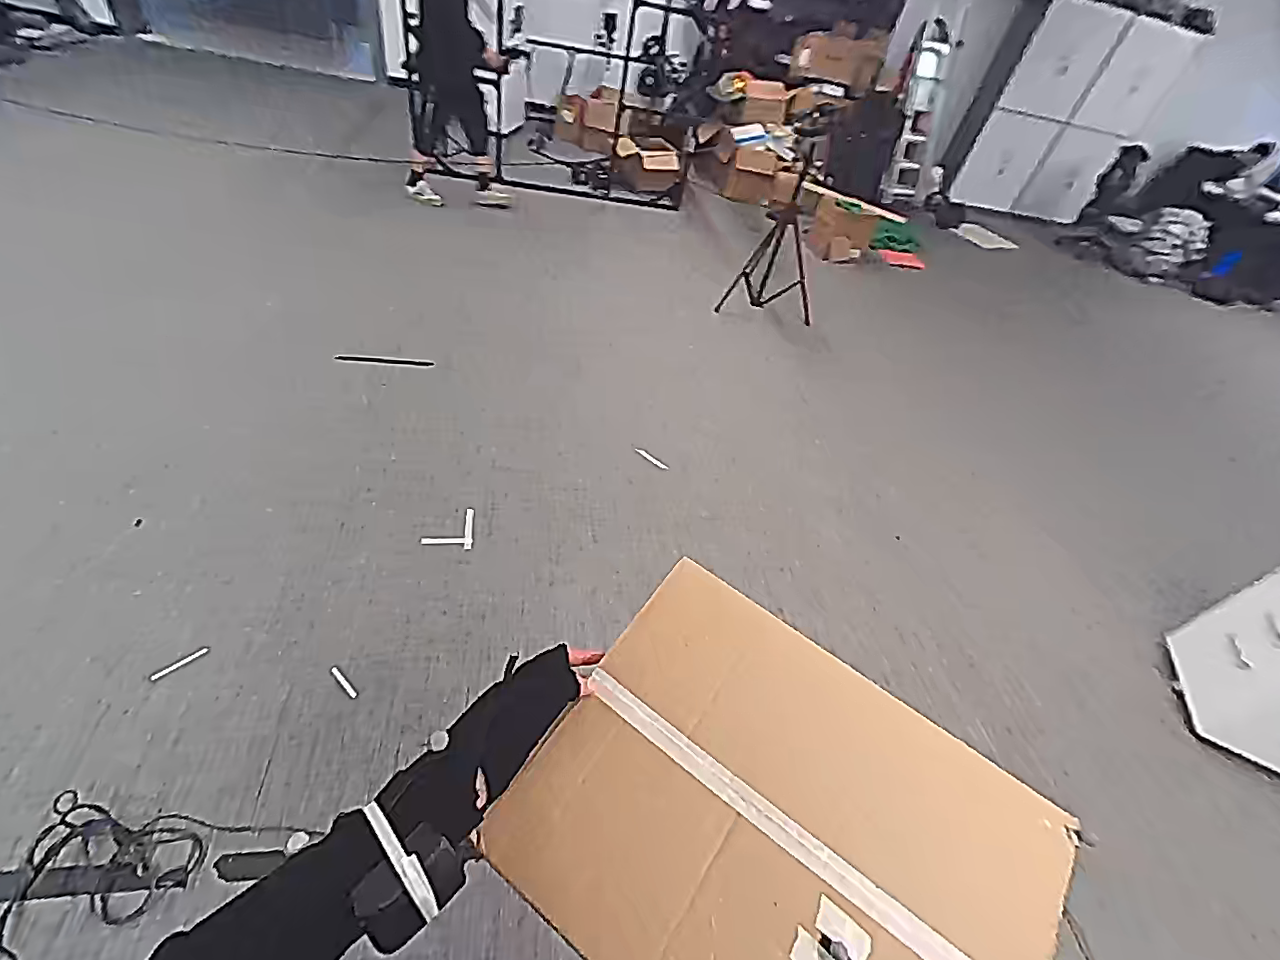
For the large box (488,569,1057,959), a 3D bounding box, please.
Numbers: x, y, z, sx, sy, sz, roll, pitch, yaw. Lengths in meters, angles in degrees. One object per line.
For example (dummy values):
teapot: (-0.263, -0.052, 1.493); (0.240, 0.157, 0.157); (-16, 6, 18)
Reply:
large box: (0.109, 0.374, 0.580); (0.408, 0.320, 0.320); (33, 60, 17)
